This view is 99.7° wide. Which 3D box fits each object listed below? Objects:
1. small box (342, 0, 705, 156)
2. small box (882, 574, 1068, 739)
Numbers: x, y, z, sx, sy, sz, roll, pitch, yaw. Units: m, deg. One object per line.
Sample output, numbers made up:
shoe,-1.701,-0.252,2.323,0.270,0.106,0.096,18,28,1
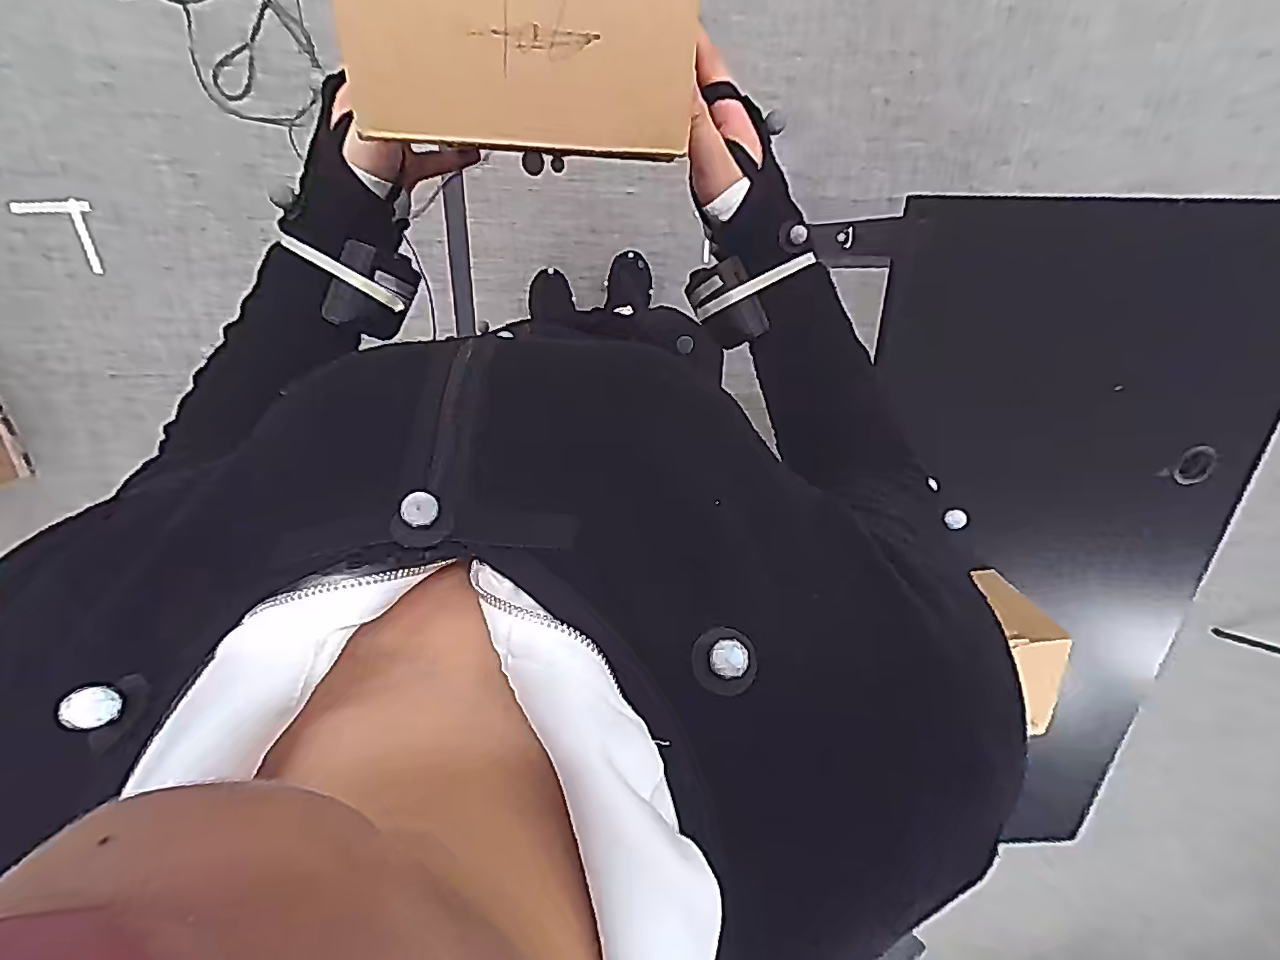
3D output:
small box,-0.054,-0.286,0.298,0.168,0.176,0.179,1,122,-4
small box,0.489,0.255,0.821,0.168,0.176,0.179,-5,112,-2
